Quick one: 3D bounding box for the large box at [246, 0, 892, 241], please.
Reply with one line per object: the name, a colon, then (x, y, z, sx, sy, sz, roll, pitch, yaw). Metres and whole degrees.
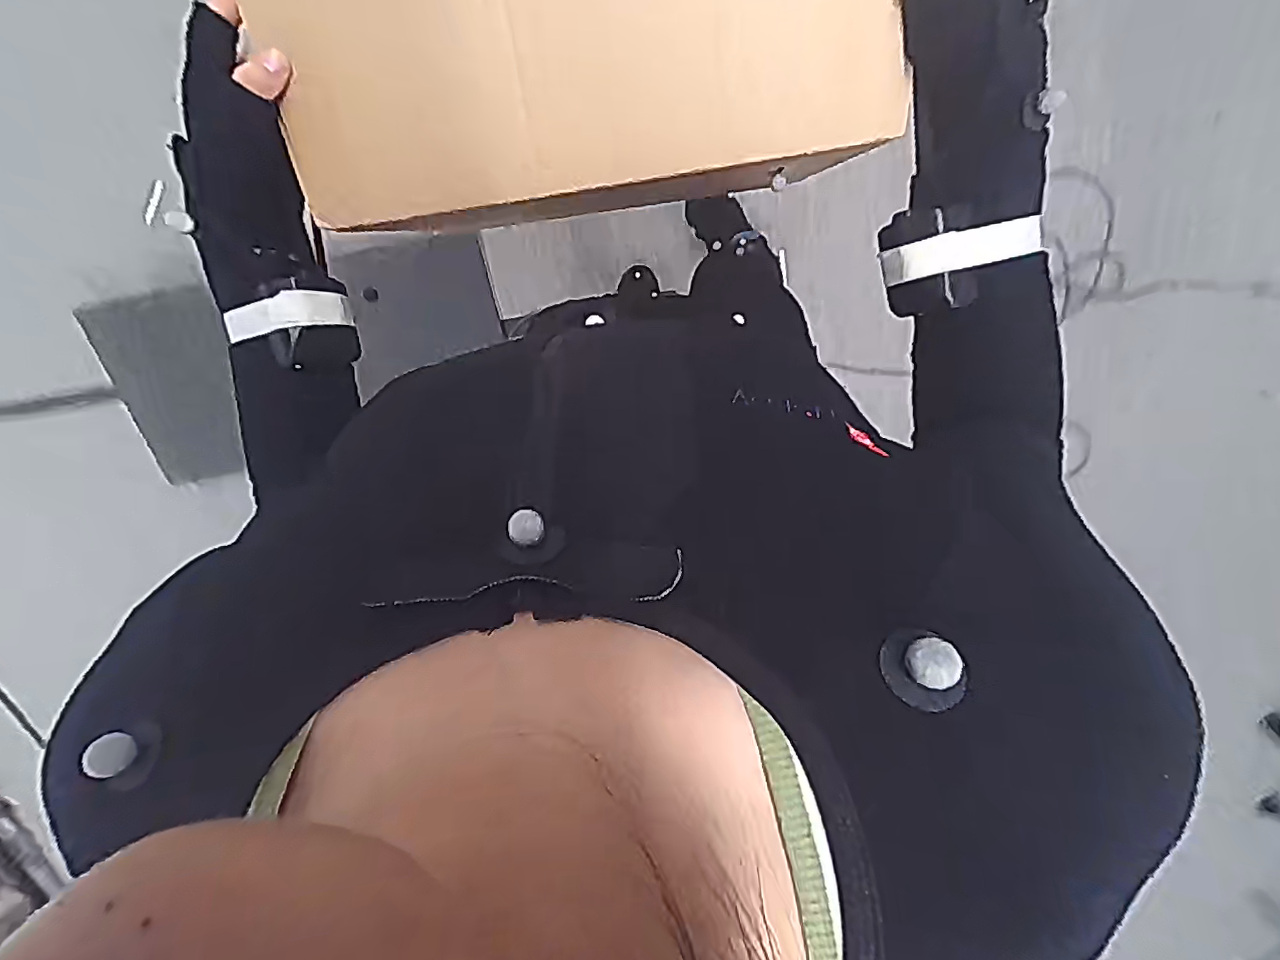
large box: (-0.047, -0.403, 0.451, 0.408, 0.320, 0.320, -7, 113, 7)
